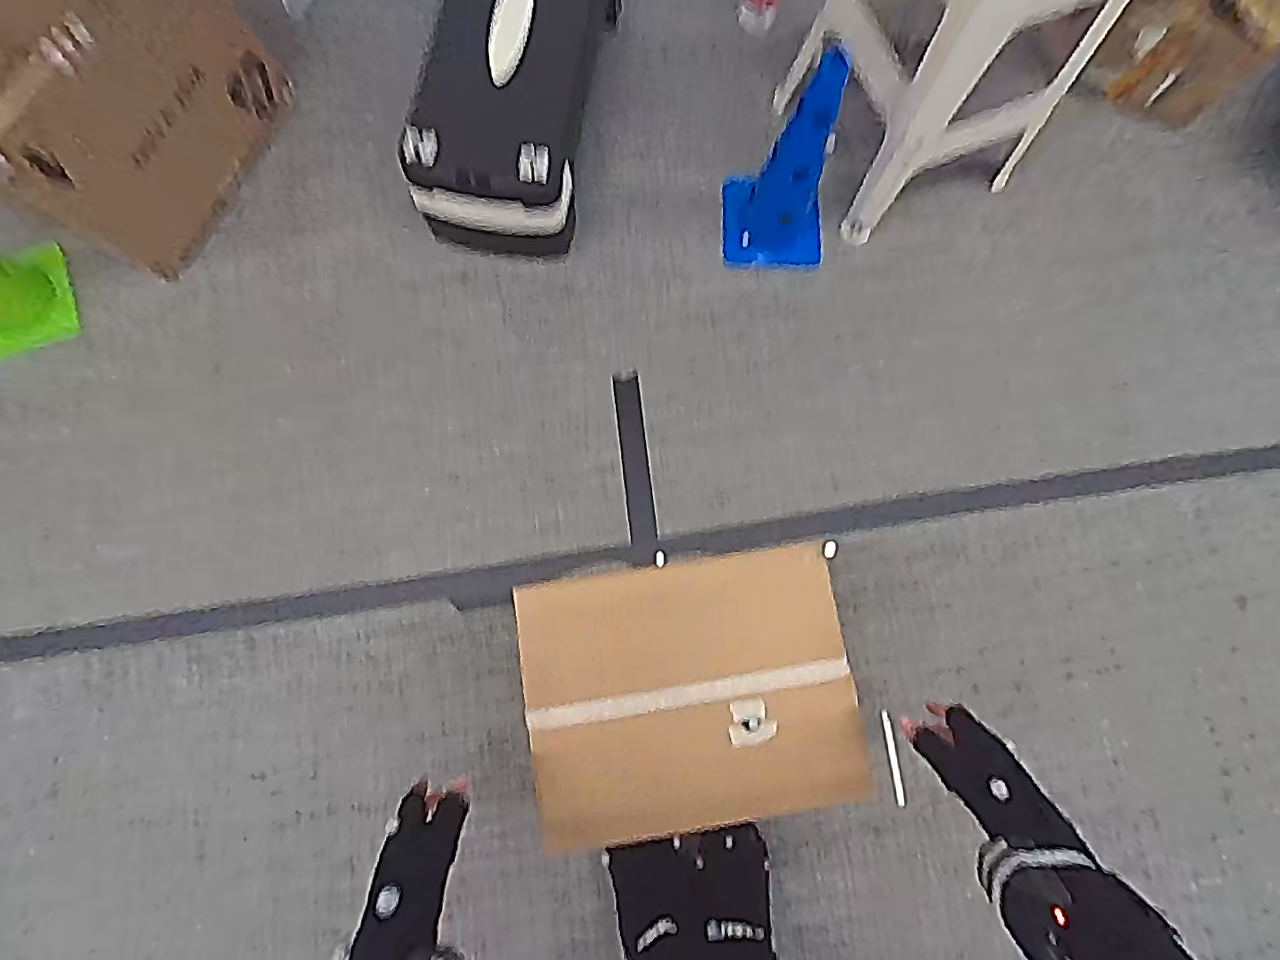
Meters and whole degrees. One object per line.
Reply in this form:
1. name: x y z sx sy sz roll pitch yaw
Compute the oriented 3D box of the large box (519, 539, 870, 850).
1. large box: 0.058 0.286 0.822 0.408 0.320 0.320 -9 81 -4
